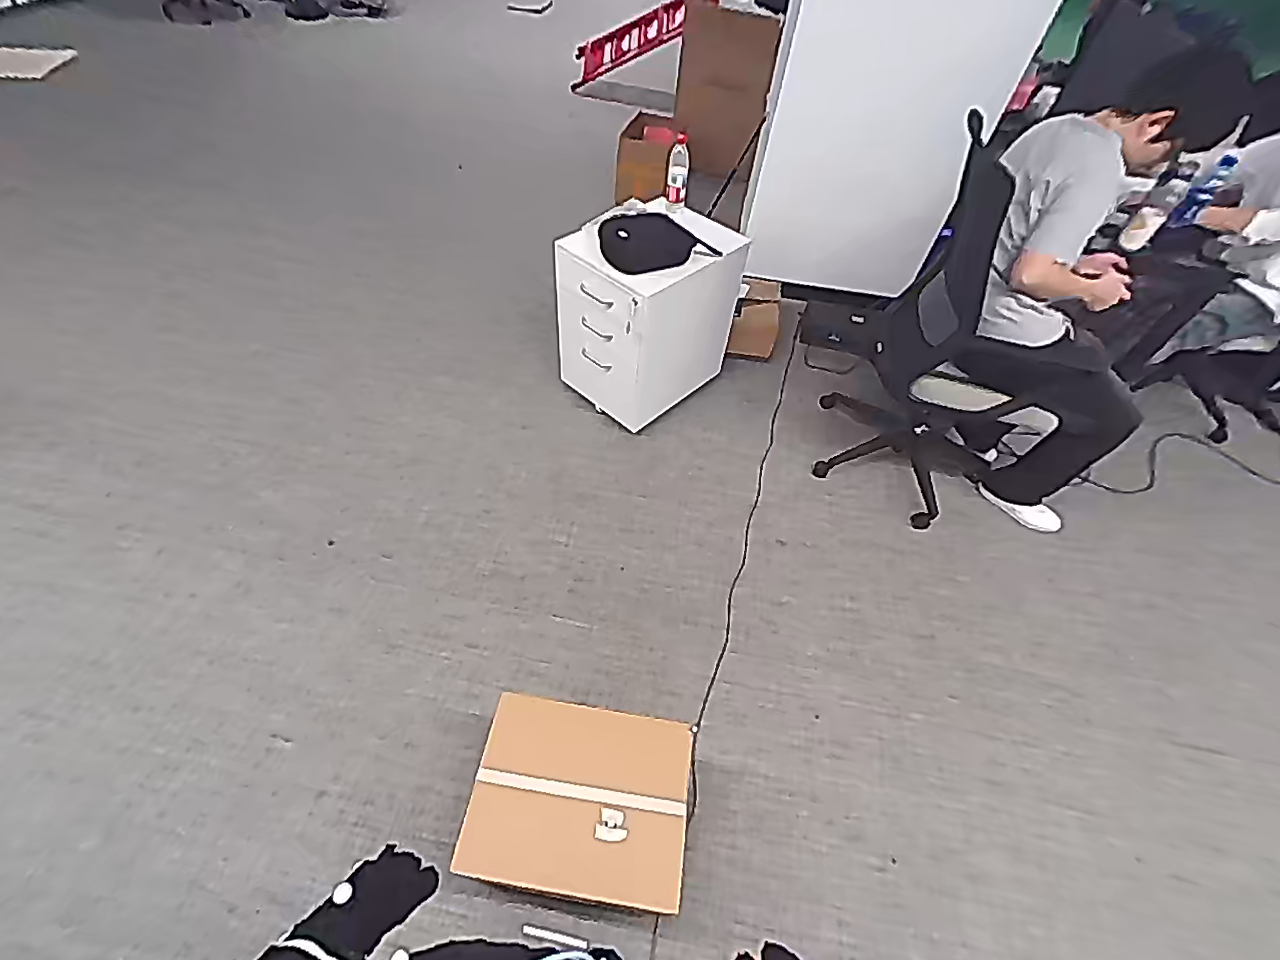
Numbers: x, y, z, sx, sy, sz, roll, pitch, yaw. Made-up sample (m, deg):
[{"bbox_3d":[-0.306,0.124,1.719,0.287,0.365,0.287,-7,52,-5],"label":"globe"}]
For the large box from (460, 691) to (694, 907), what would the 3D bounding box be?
[{"bbox_3d":[-0.117,0.682,1.152,0.408,0.320,0.320,10,52,2],"label":"large box"}]
